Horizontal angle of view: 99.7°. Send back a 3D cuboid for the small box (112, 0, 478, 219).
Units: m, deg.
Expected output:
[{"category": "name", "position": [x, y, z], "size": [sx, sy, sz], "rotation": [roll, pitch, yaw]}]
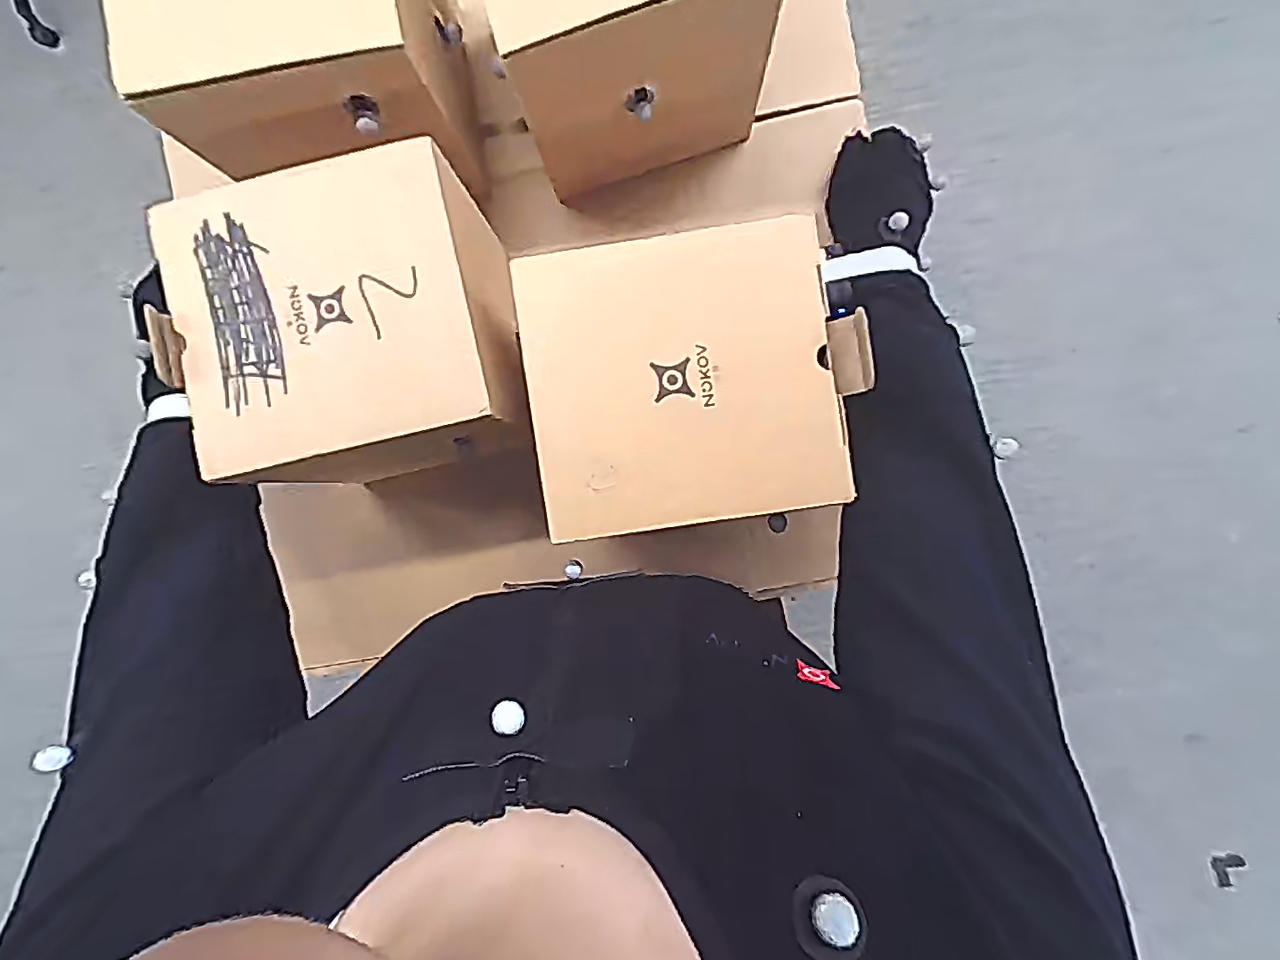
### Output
[{"category": "small box", "position": [-0.234, -0.323, 0.403], "size": [0.179, 0.176, 0.168], "rotation": [-9, 89, 3]}]
